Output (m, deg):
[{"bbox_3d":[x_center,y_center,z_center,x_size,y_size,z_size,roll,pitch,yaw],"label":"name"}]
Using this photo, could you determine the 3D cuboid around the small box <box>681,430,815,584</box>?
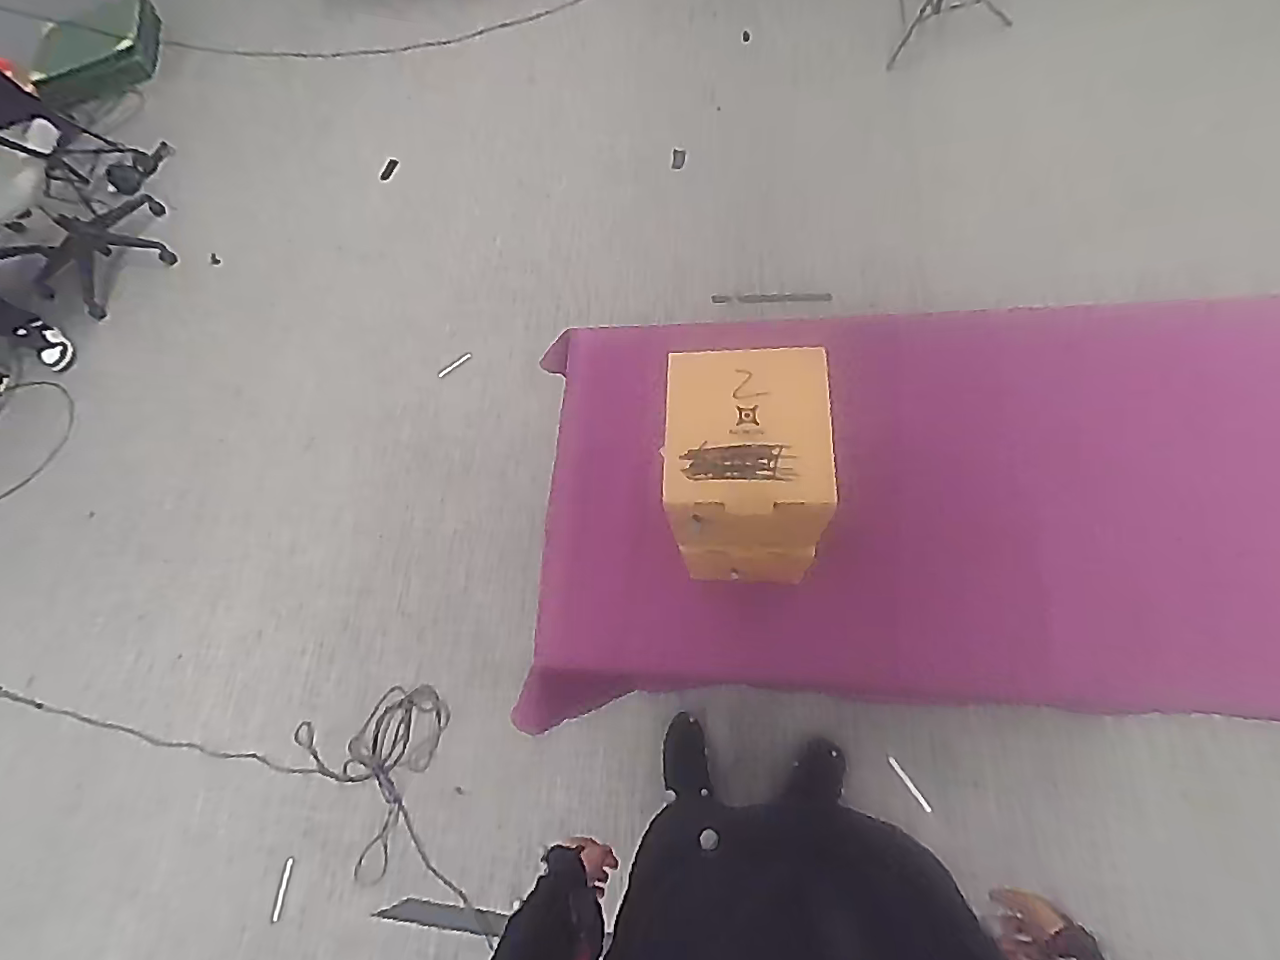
[{"bbox_3d":[0.147,0.043,0.765,0.168,0.176,0.179,0,70,9],"label":"small box"}]
